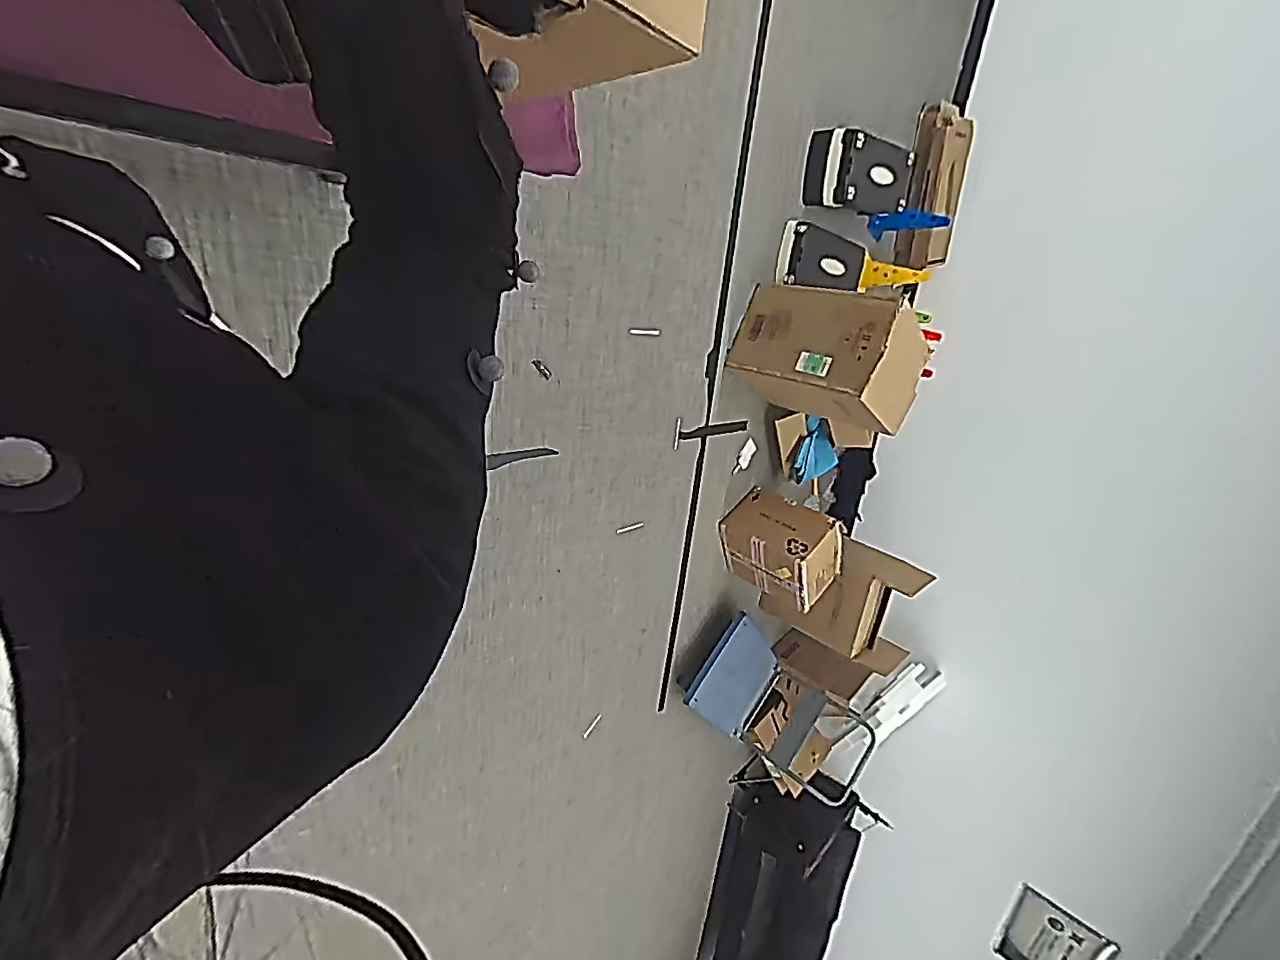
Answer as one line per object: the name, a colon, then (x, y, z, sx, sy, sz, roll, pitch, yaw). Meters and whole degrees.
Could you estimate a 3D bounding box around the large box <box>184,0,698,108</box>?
large box: (-0.152, -0.555, 0.382, 0.320, 0.320, 0.408, -14, 117, -45)
